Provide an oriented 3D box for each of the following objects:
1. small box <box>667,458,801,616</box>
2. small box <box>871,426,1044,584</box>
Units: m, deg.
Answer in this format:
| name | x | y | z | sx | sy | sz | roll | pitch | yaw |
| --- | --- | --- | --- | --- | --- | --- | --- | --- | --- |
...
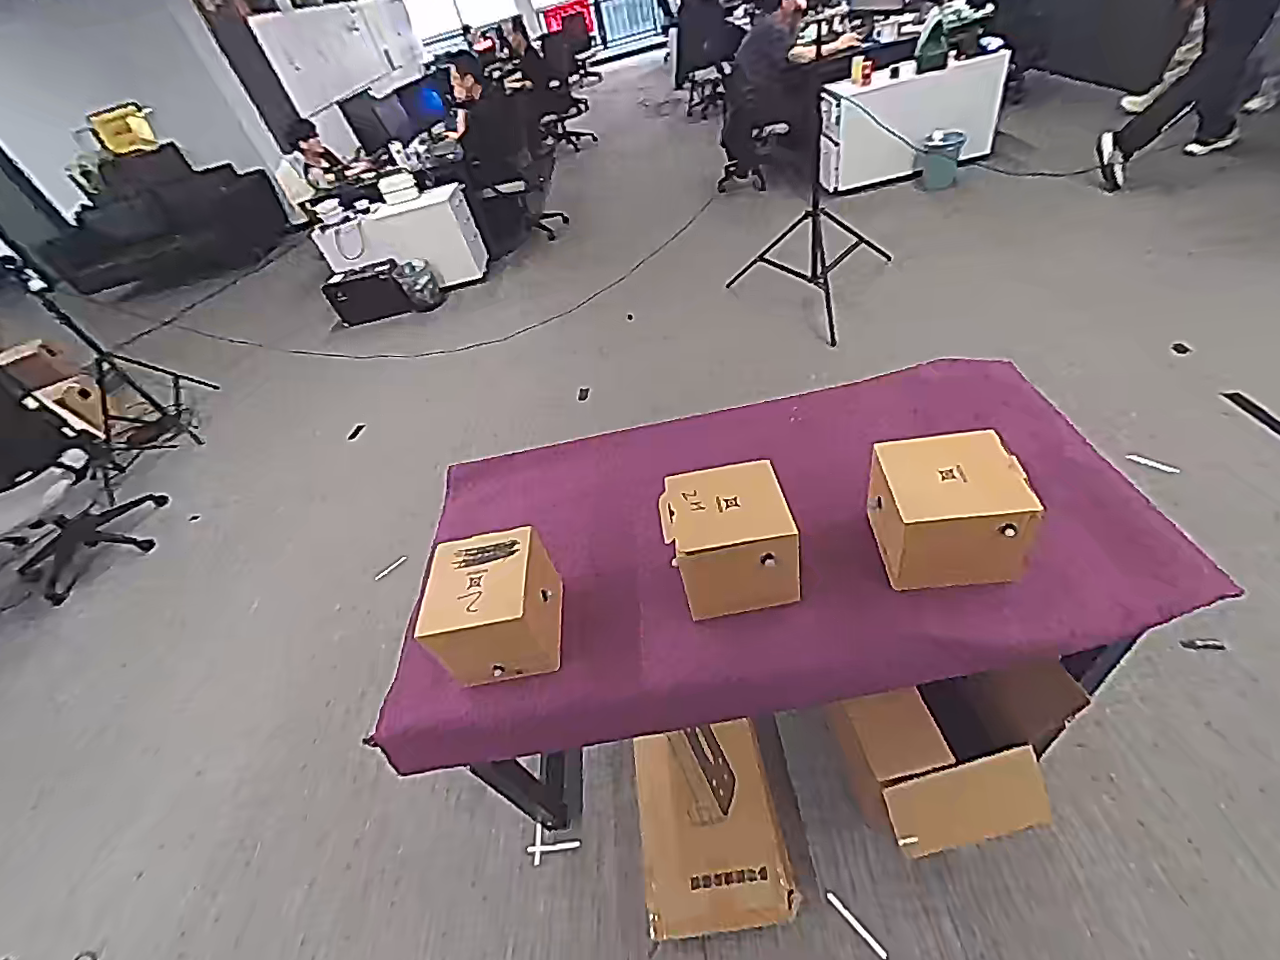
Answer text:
| name | x | y | z | sx | sy | sz | roll | pitch | yaw |
| --- | --- | --- | --- | --- | --- | --- | --- | --- | --- |
| small box | 0.150 | 0.094 | 0.867 | 0.179 | 0.176 | 0.168 | -12 | 41 | 5 |
| small box | 0.461 | 0.044 | 0.823 | 0.179 | 0.176 | 0.168 | -7 | 44 | 10 |
